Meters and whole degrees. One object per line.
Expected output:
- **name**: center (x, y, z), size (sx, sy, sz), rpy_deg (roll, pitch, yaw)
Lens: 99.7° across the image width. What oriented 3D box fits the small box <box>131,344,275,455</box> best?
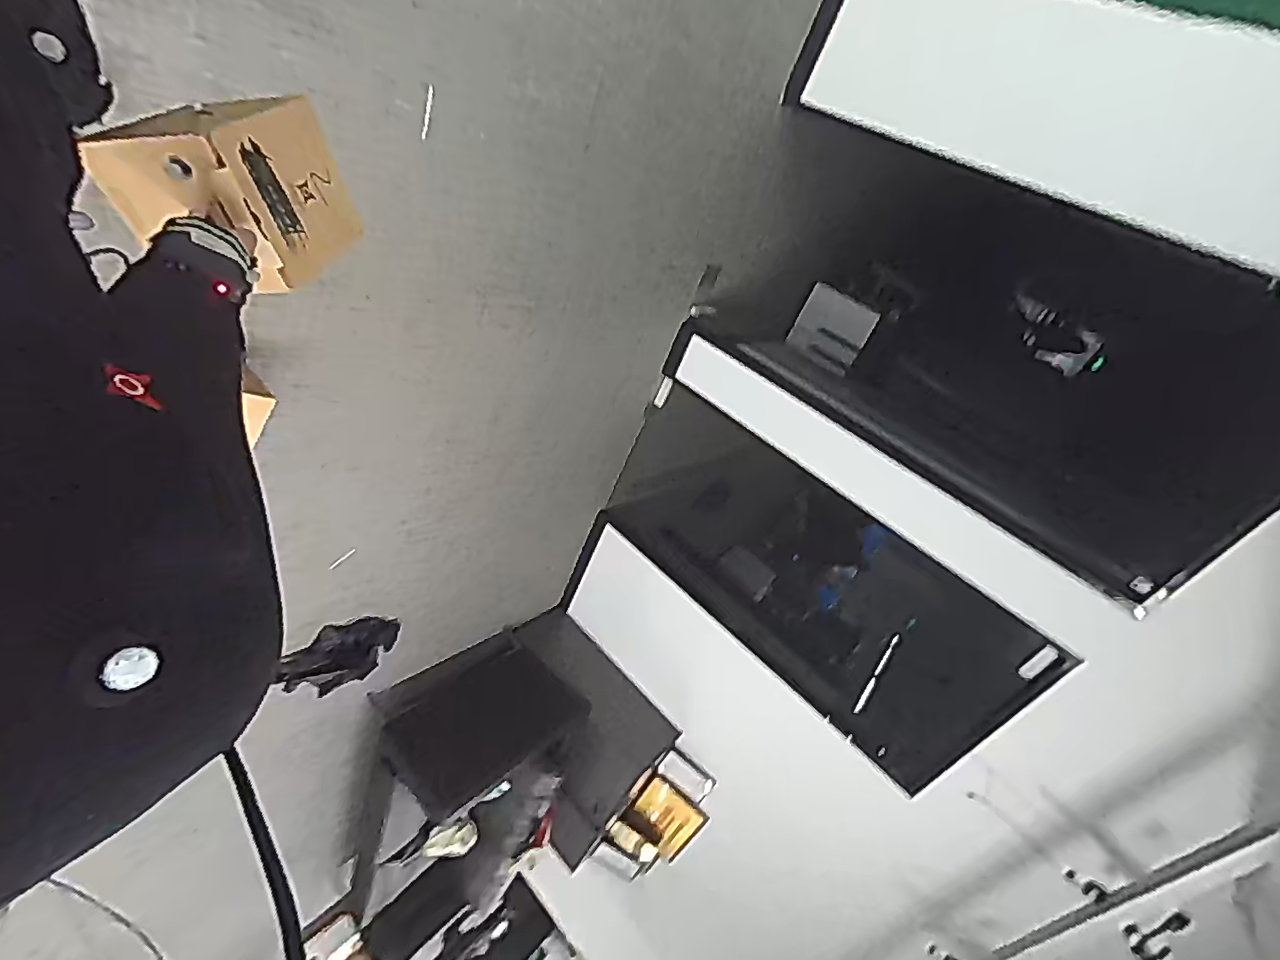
- **small box**: center (-0.963, -0.176, 1.193), size (0.168, 0.176, 0.179), rpy_deg (-55, 156, 12)
